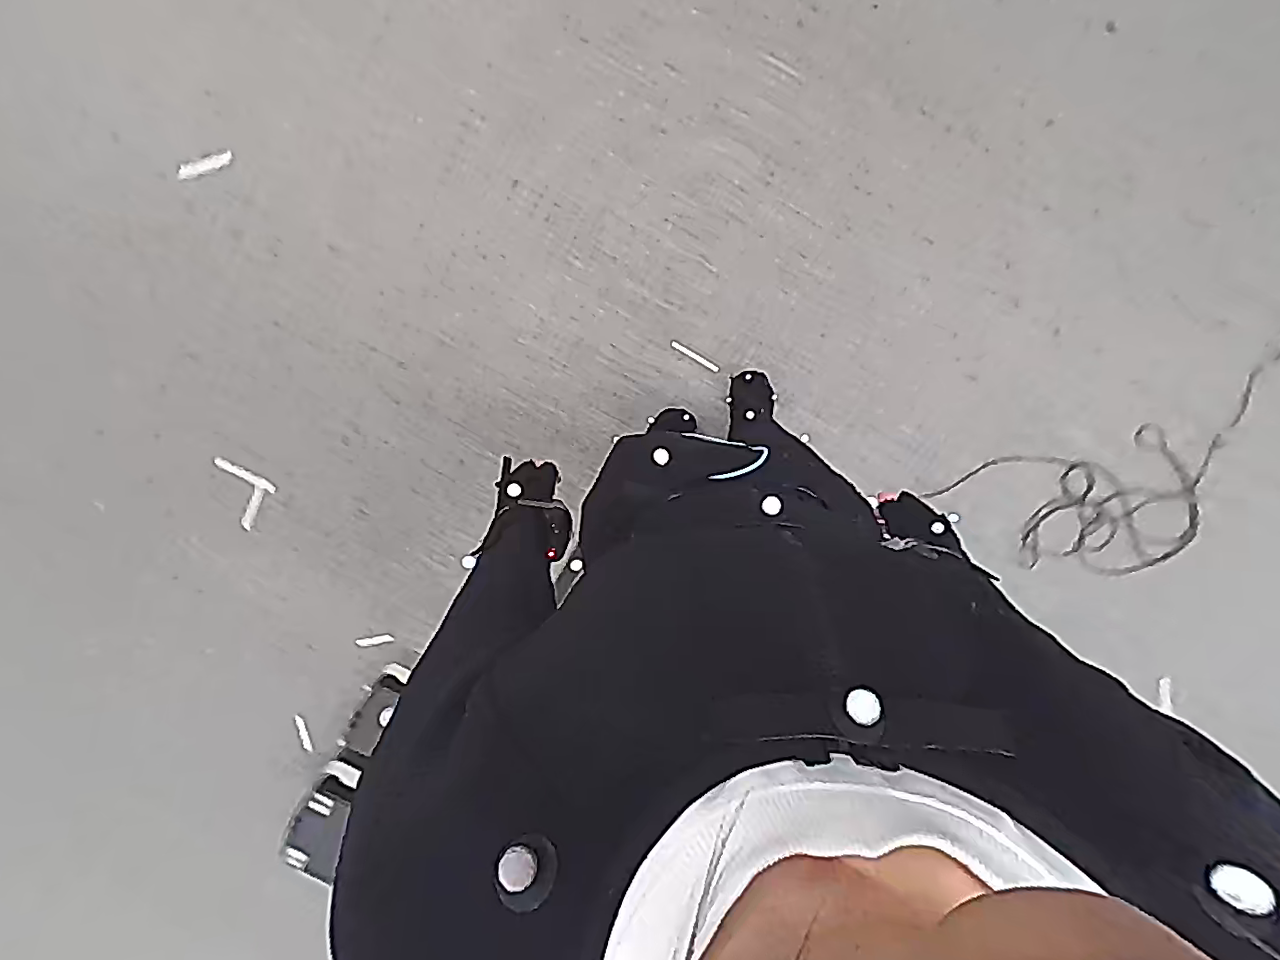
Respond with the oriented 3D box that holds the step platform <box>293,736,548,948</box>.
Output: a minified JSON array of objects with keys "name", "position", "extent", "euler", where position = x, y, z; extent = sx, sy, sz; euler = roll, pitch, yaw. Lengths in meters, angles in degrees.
[{"name":"step platform","position":[-0.627,1.052,1.577],"extent":[0.684,0.204,0.286],"euler":[29,100,-2]}]
